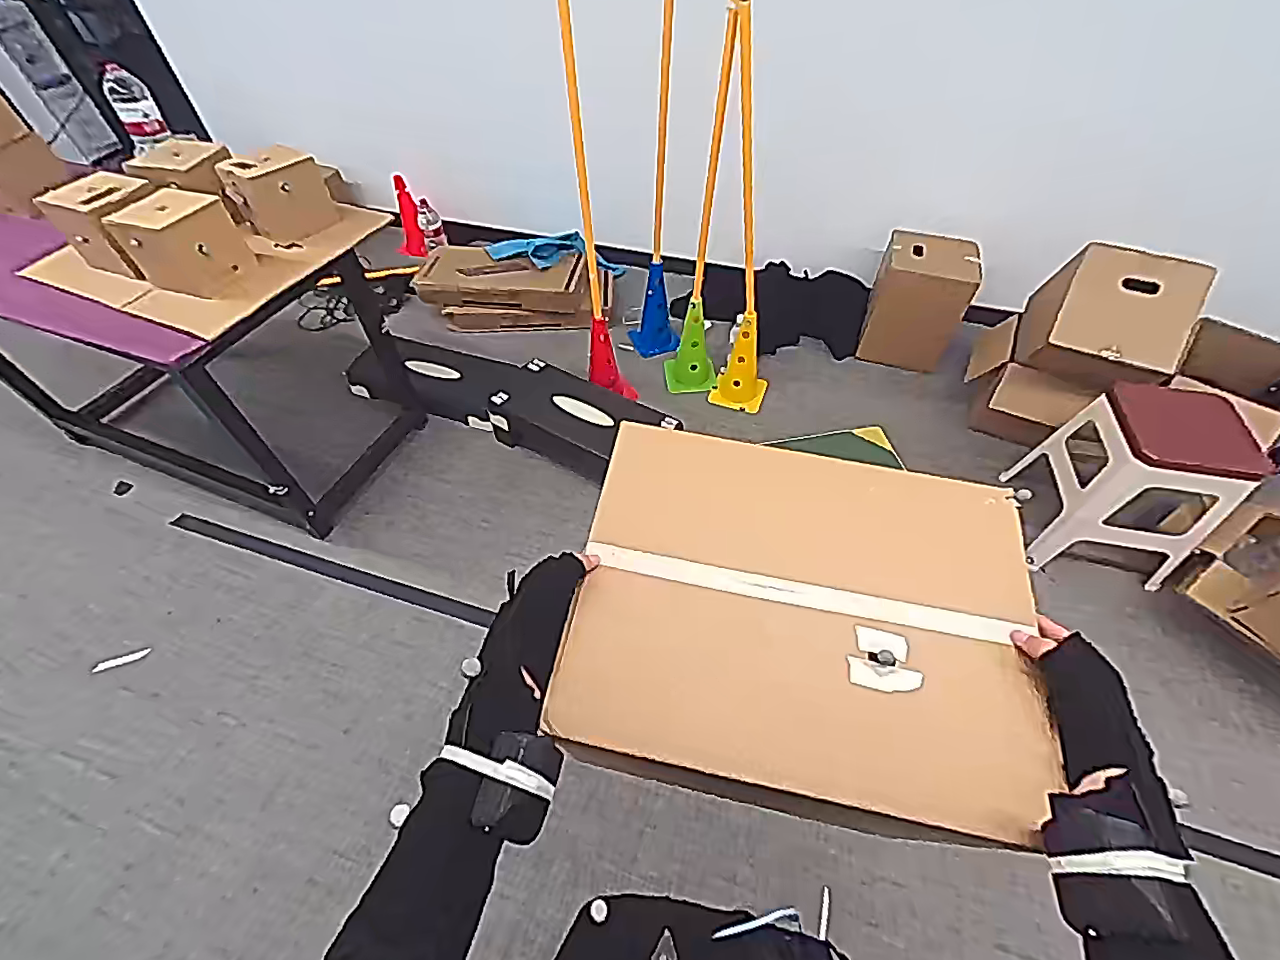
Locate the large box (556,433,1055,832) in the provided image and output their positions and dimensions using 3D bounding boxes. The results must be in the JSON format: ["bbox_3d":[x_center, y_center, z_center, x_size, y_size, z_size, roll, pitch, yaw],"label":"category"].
[{"bbox_3d":[0.146,0.184,0.628,0.408,0.320,0.320,11,60,5],"label":"large box"}]
